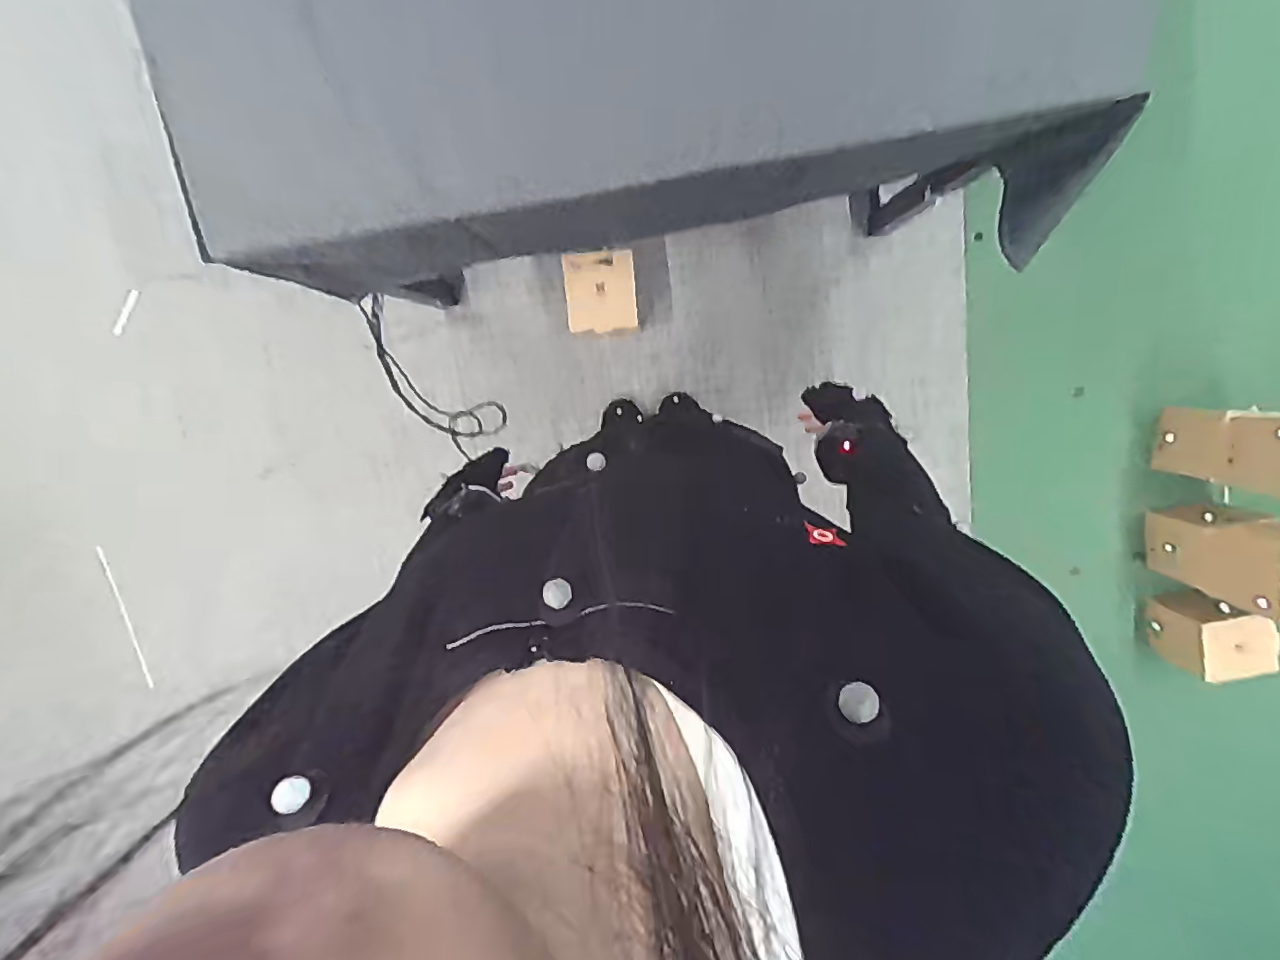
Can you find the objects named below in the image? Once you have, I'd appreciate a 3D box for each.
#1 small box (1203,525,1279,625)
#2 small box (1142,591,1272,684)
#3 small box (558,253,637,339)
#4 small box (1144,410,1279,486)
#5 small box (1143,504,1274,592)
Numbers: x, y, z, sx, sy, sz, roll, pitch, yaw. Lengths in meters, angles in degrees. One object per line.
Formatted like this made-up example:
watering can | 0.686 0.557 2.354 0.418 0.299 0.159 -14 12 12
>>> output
small box | 1.445 0.207 1.228 0.168 0.176 0.179 -7 101 3
small box | 1.494 0.408 1.432 0.179 0.176 0.168 -13 100 4
small box | -0.097 -0.440 1.320 0.168 0.176 0.179 -4 101 3
small box | 1.424 -0.084 1.339 0.179 0.176 0.168 3 100 3
small box | 1.445 0.170 1.387 0.179 0.176 0.168 -10 100 3
